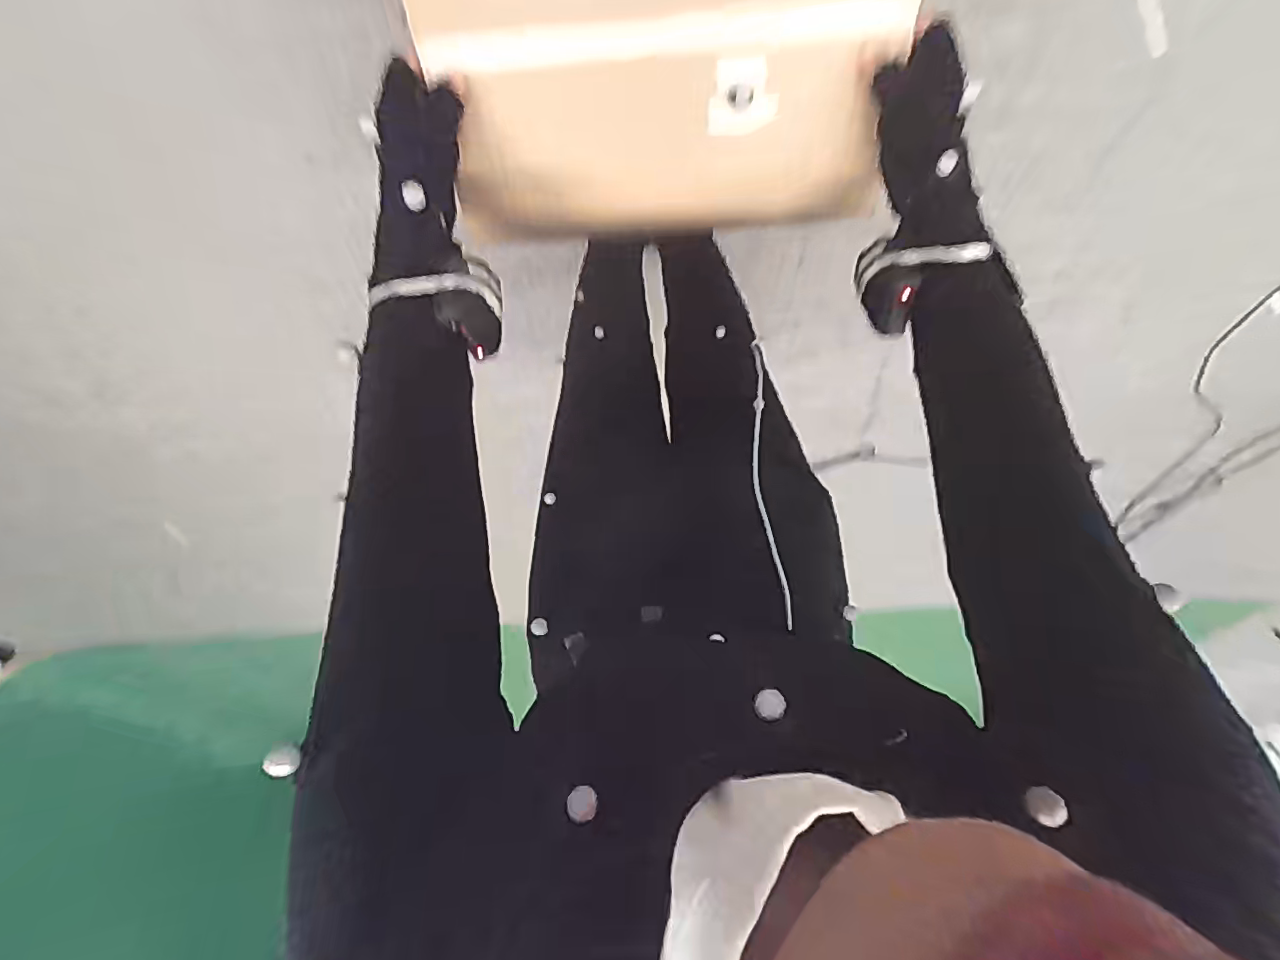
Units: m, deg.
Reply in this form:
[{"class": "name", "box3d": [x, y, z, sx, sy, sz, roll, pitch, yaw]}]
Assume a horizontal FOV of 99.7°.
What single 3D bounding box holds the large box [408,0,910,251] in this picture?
[{"class": "large box", "box3d": [0.016, -0.460, 0.553, 0.408, 0.320, 0.320, -3, 133, 3]}]
